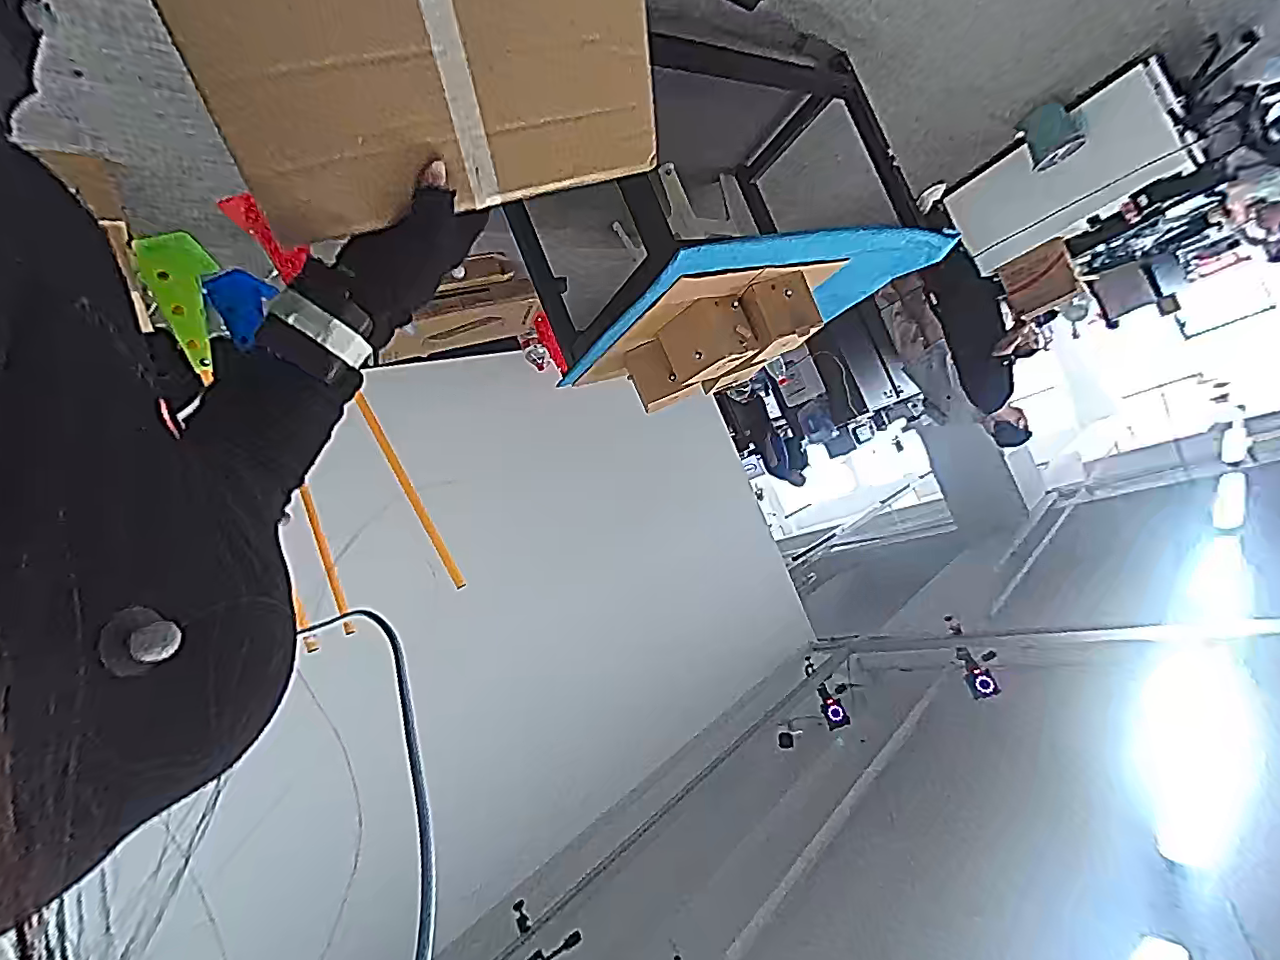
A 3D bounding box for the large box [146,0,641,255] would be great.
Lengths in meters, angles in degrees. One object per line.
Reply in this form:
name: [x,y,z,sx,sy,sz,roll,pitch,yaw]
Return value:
large box: [-0.225,-0.455,0.436,0.320,0.408,0.320,-21,-140,-14]
